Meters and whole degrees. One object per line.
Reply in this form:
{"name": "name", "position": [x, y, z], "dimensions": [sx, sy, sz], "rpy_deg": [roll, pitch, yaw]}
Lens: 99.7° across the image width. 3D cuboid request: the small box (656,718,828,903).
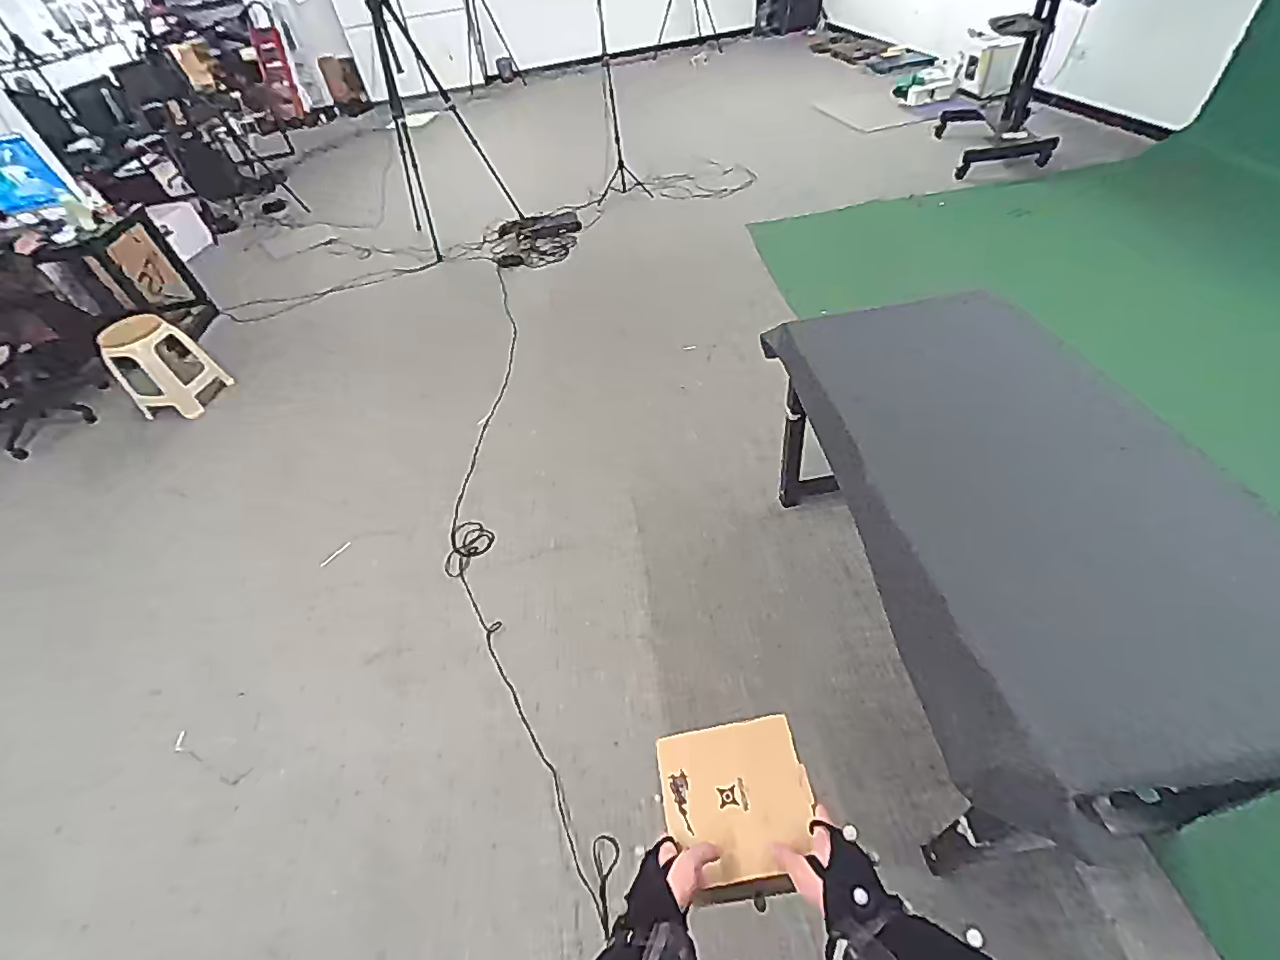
{"name": "small box", "position": [0.127, 0.434, 0.706], "dimensions": [0.179, 0.176, 0.168], "rpy_deg": [-12, 46, 3]}
